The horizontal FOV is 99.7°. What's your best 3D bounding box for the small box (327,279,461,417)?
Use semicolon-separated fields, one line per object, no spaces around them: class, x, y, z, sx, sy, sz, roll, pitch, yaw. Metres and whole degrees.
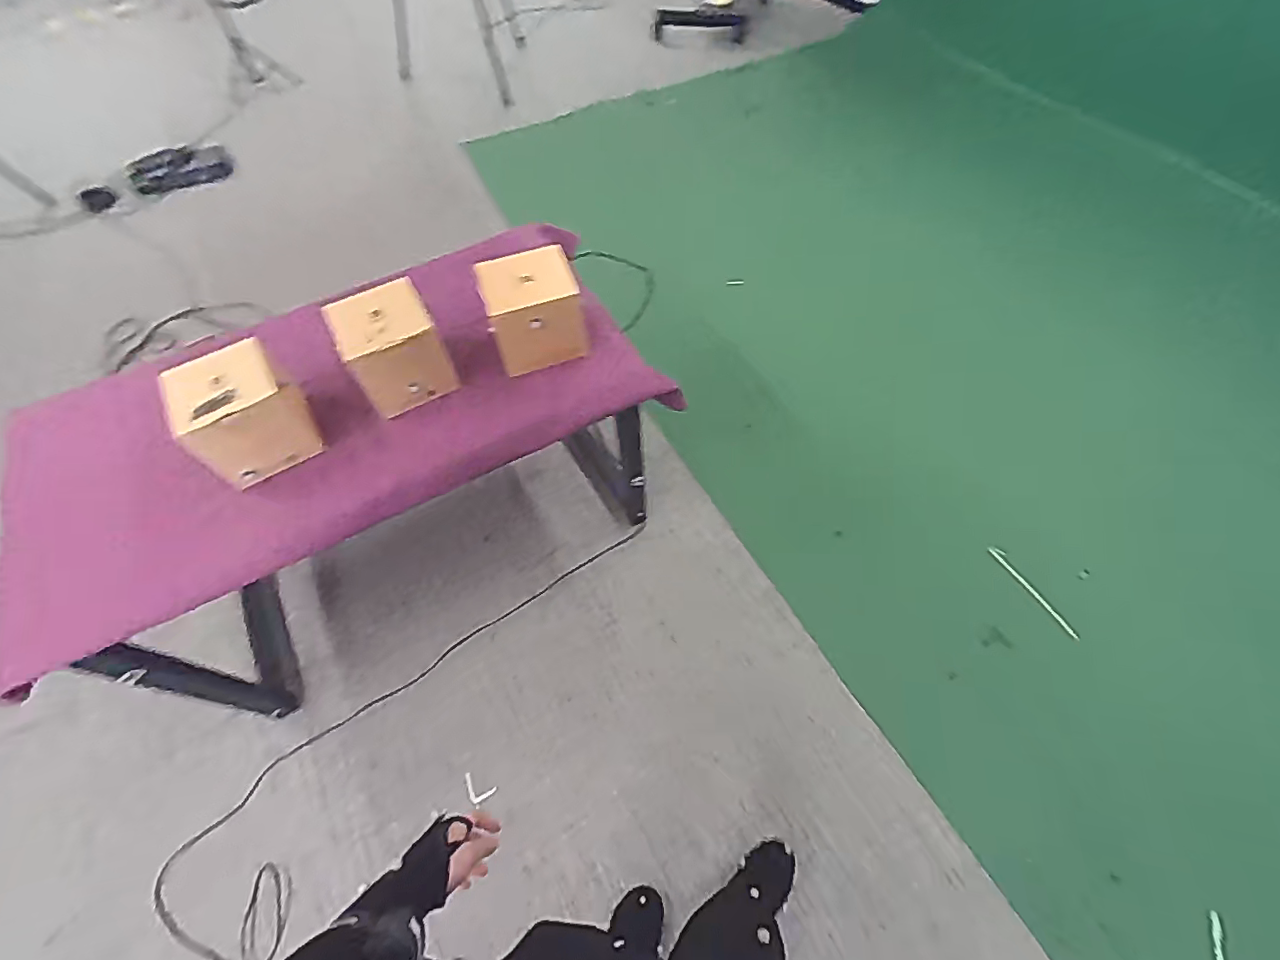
small box;-0.485;-0.260;1.081;0.168;0.176;0.179;-28;61;-13

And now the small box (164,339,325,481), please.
small box;-0.724;-0.120;1.005;0.168;0.176;0.179;-30;61;-15

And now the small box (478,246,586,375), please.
small box;-0.216;-0.347;1.124;0.179;0.176;0.168;-19;60;-8
